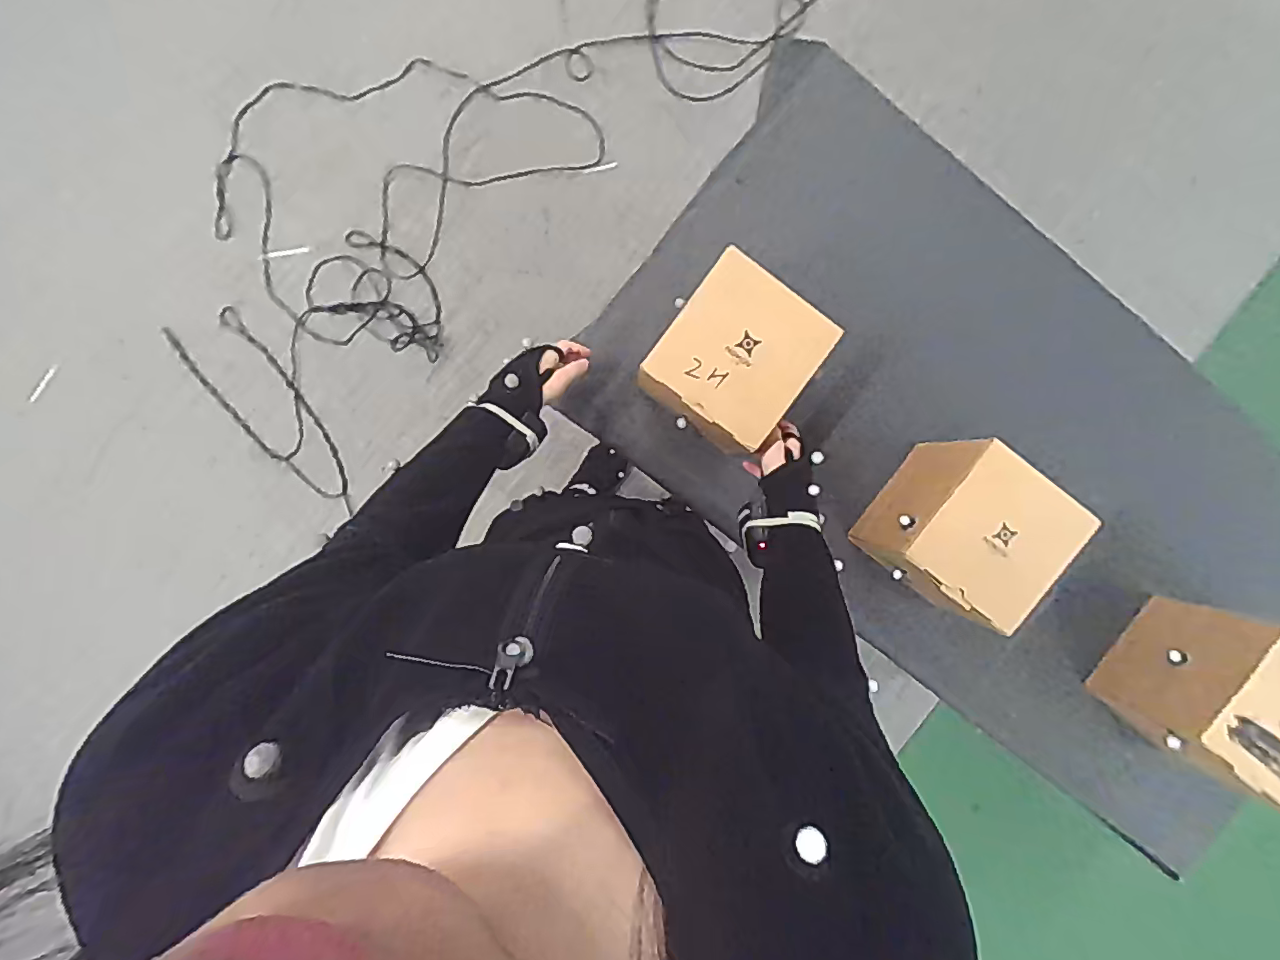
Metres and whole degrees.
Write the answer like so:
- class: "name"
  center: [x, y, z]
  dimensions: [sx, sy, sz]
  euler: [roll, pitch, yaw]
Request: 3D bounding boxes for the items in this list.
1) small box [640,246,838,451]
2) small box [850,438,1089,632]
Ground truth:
- class: "small box"
  center: [0.110, -0.153, 0.694]
  dimensions: [0.168, 0.176, 0.179]
  euler: [36, 91, -3]
- class: "small box"
  center: [0.416, 0.061, 0.718]
  dimensions: [0.168, 0.176, 0.179]
  euler: [37, 91, -4]
